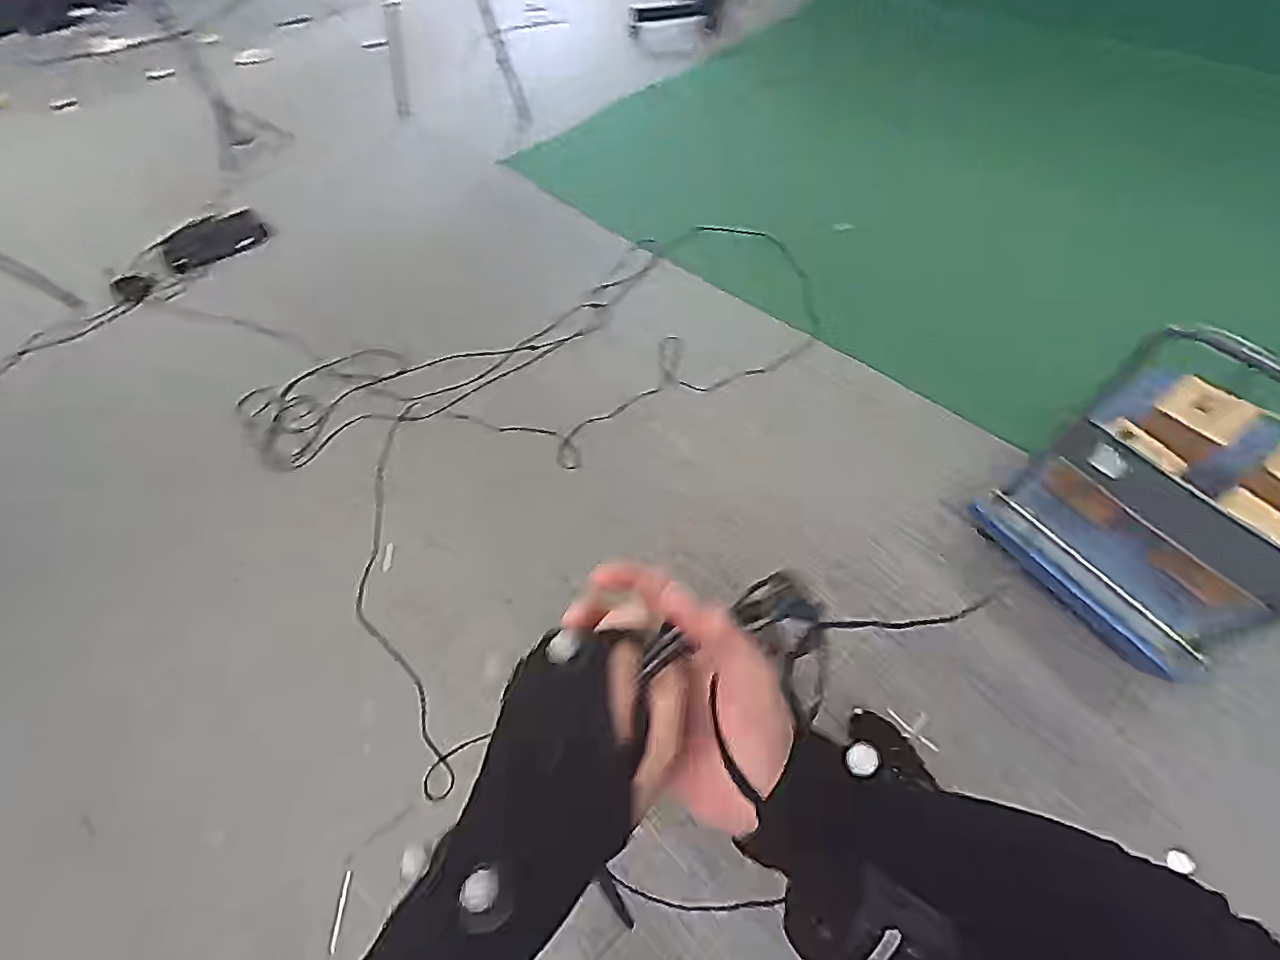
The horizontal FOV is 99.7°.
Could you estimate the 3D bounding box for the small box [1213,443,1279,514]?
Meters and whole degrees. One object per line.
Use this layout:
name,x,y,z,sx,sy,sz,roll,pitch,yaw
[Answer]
small box,1.602,0.020,1.336,0.179,0.176,0.168,-34,60,-15

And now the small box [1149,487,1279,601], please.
small box,1.375,0.153,1.273,0.179,0.176,0.168,-29,59,-13

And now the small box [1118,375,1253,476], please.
small box,1.452,-0.143,1.456,0.179,0.176,0.168,-33,61,-16
